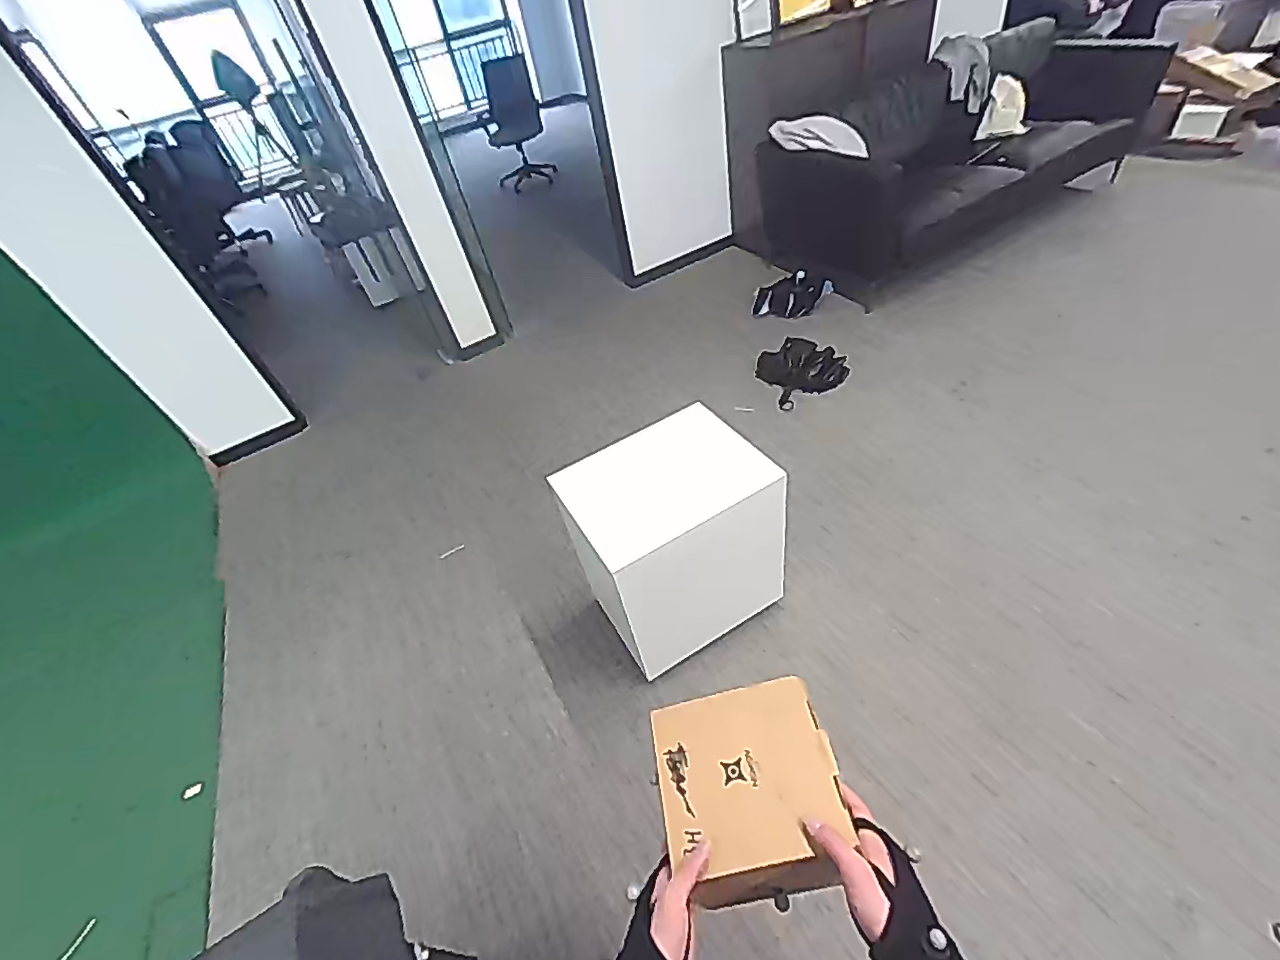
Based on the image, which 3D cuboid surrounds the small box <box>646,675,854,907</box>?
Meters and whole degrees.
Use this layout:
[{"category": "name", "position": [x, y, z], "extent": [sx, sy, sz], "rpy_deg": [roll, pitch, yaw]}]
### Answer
[{"category": "small box", "position": [0.117, 0.345, 0.597], "extent": [0.179, 0.176, 0.168], "rpy_deg": [-16, 42, 5]}]
